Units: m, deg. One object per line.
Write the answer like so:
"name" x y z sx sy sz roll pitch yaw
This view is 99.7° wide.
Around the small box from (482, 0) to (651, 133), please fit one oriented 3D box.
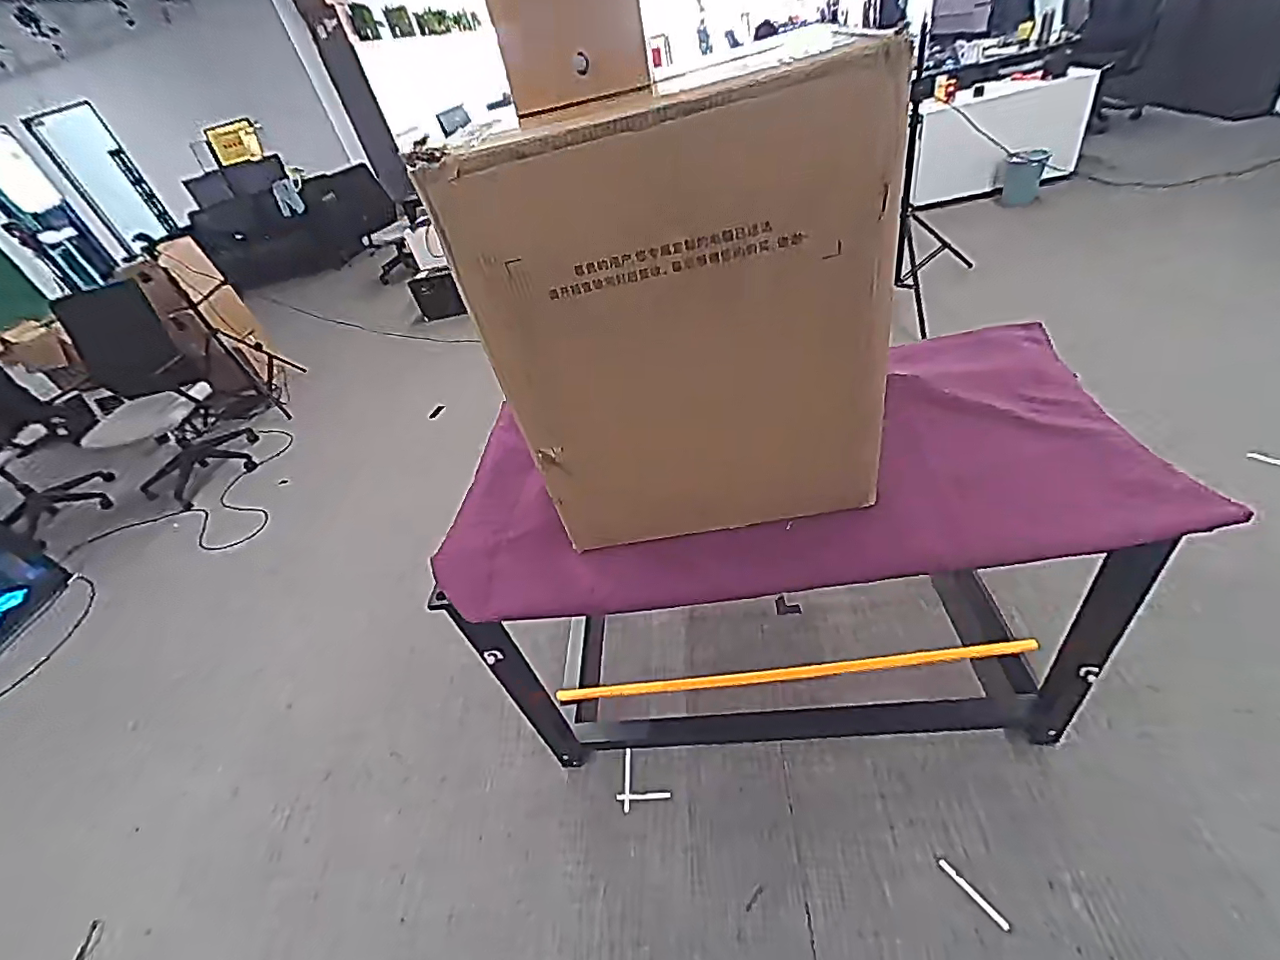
"small box" -0.086 -0.565 0.683 0.179 0.176 0.168 -7 41 9
